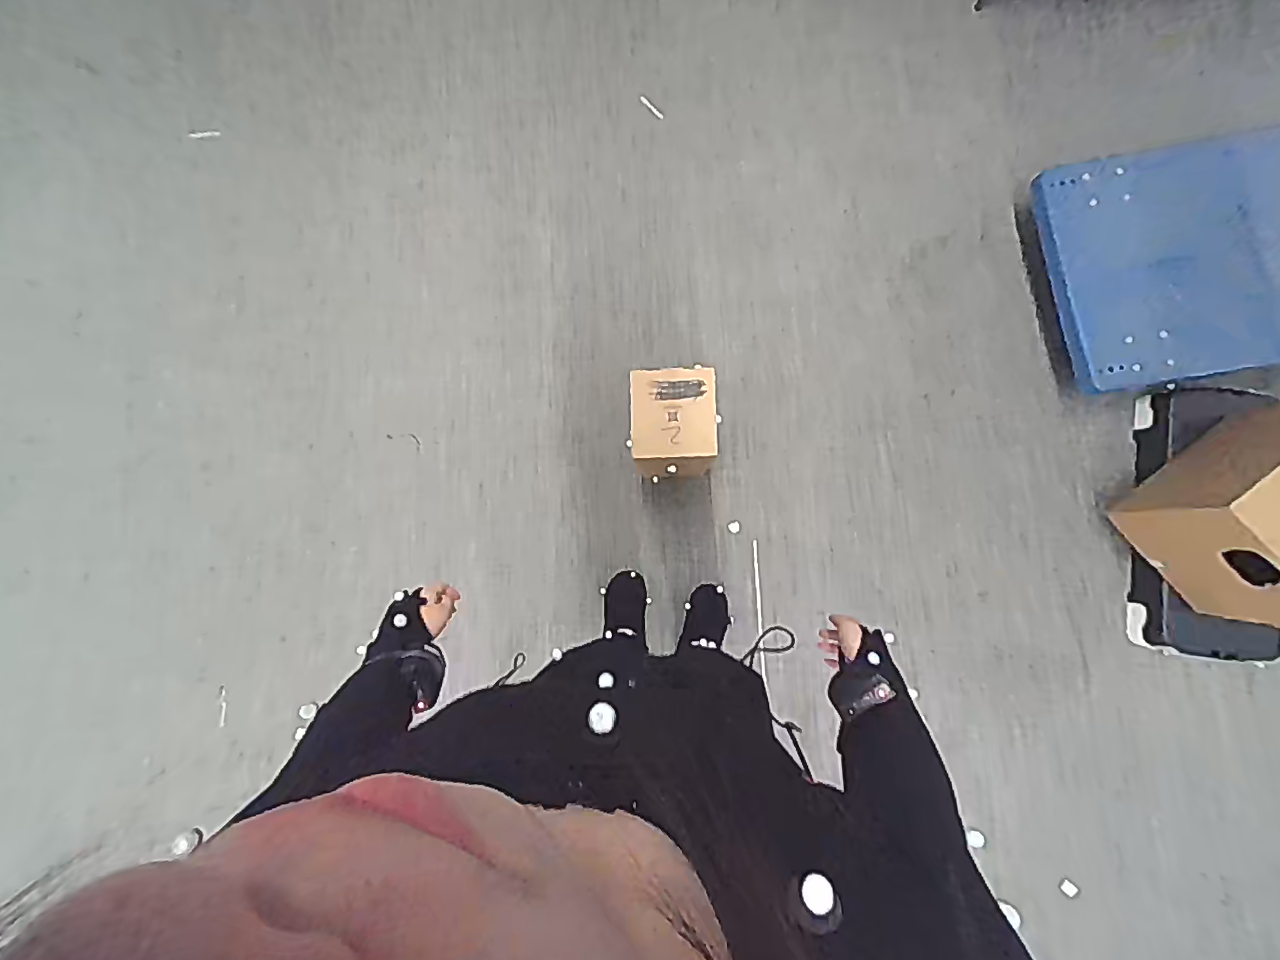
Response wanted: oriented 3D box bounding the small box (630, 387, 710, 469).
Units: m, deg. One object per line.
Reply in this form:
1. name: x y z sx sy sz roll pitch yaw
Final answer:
1. small box: 0.072 -0.117 1.274 0.179 0.176 0.168 -1 85 3

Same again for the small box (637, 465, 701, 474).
1. small box: 0.079 -0.108 1.438 0.168 0.176 0.179 -2 84 3
